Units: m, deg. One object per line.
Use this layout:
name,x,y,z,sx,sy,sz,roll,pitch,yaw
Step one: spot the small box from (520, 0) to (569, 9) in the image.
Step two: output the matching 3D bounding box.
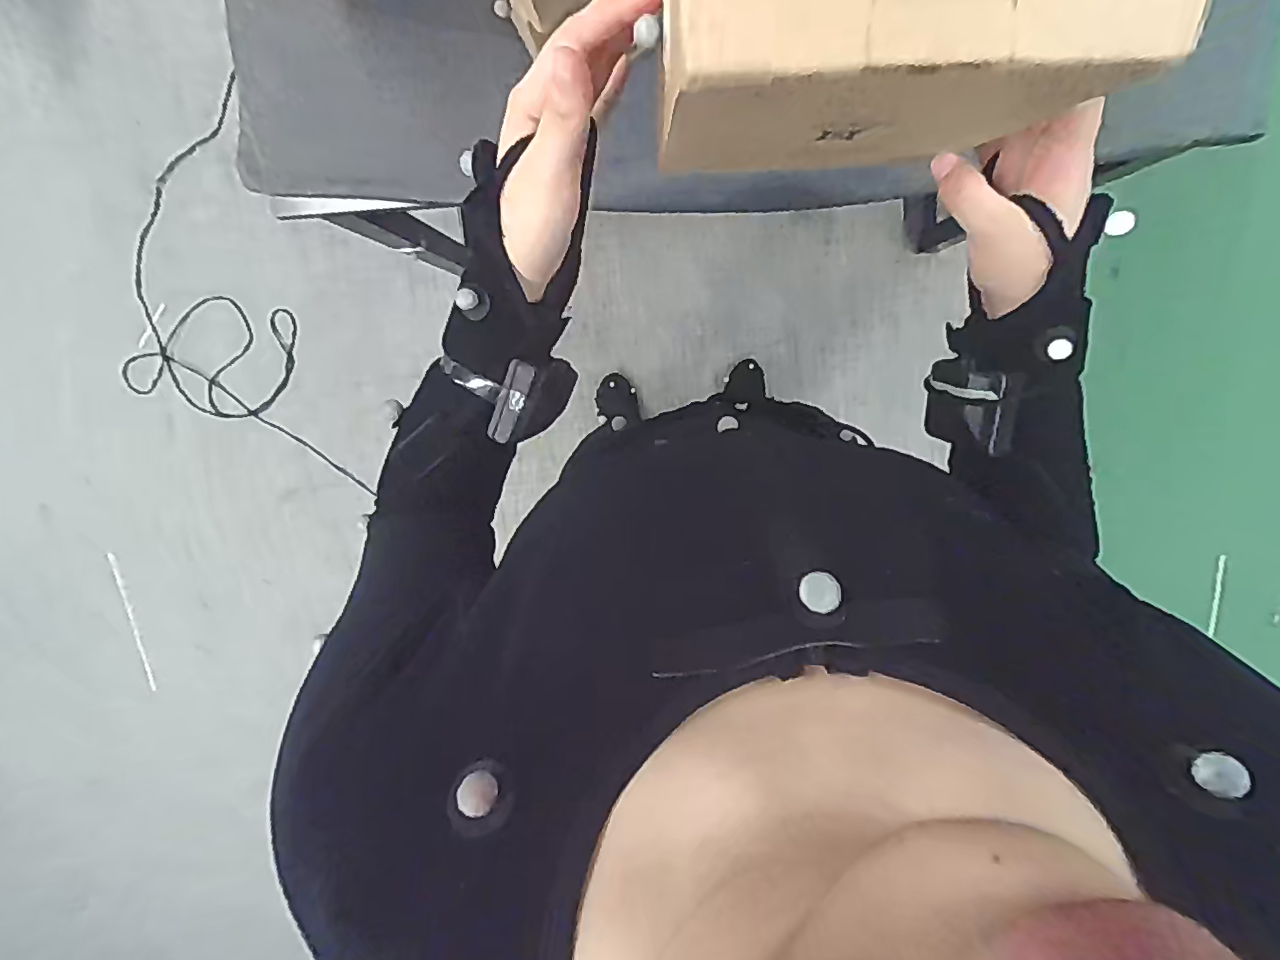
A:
small box,-0.081,-0.504,0.393,0.168,0.176,0.179,-38,98,9

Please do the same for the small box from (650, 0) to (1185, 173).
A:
small box,0.086,-0.237,0.222,0.168,0.179,0.176,-1,114,2

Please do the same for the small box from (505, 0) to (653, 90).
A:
small box,-0.070,-0.545,0.550,0.168,0.176,0.179,-27,99,7
